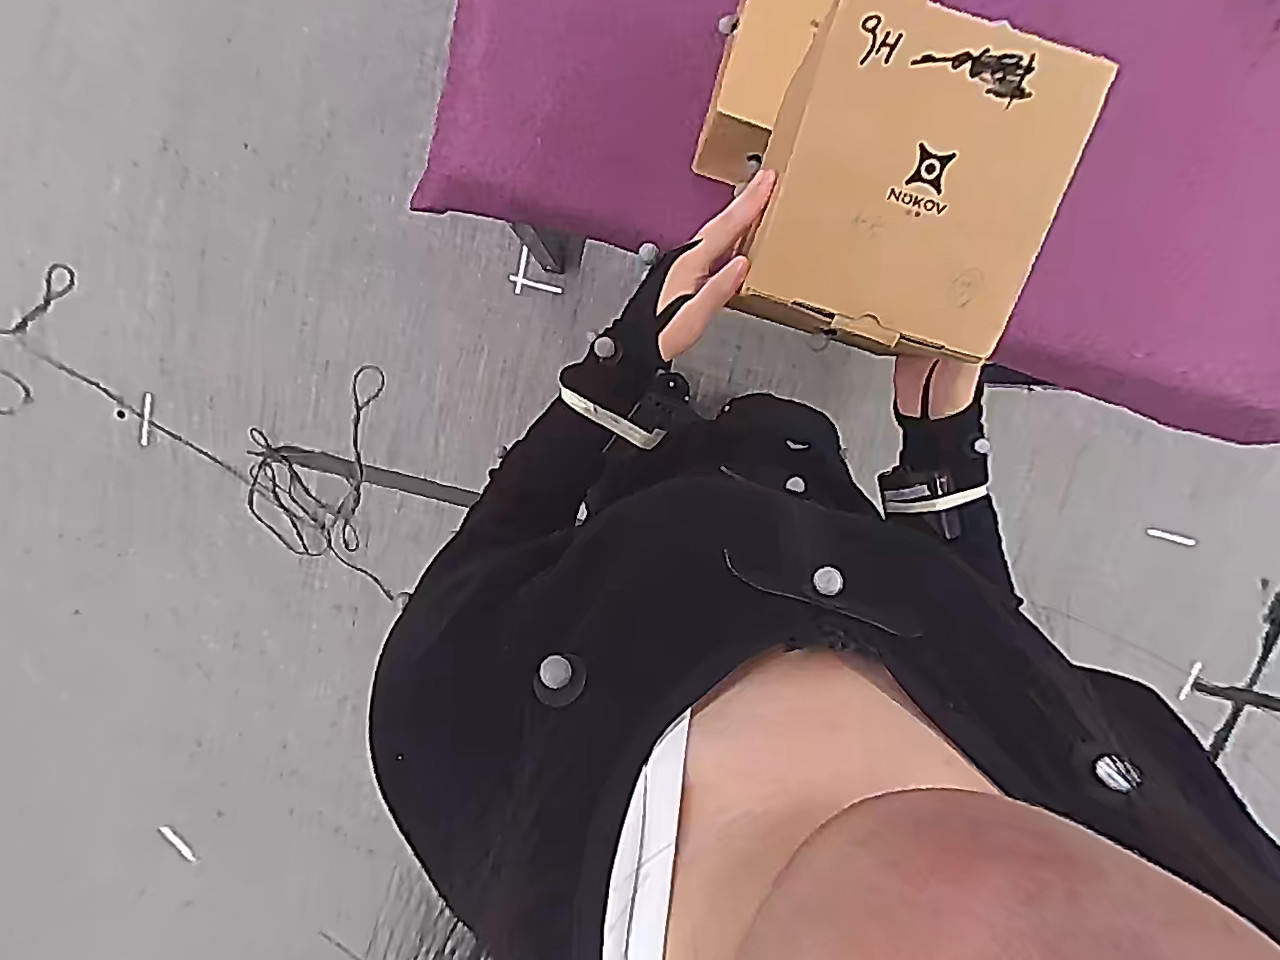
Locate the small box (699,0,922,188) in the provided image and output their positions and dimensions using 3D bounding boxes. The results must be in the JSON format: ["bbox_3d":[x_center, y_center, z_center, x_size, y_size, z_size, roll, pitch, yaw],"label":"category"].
[{"bbox_3d":[0.171,-0.432,0.601,0.168,0.176,0.179,15,99,-5],"label":"small box"}]

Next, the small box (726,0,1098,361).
[{"bbox_3d":[0.170,-0.202,0.411,0.168,0.176,0.179,15,106,-3],"label":"small box"}]
